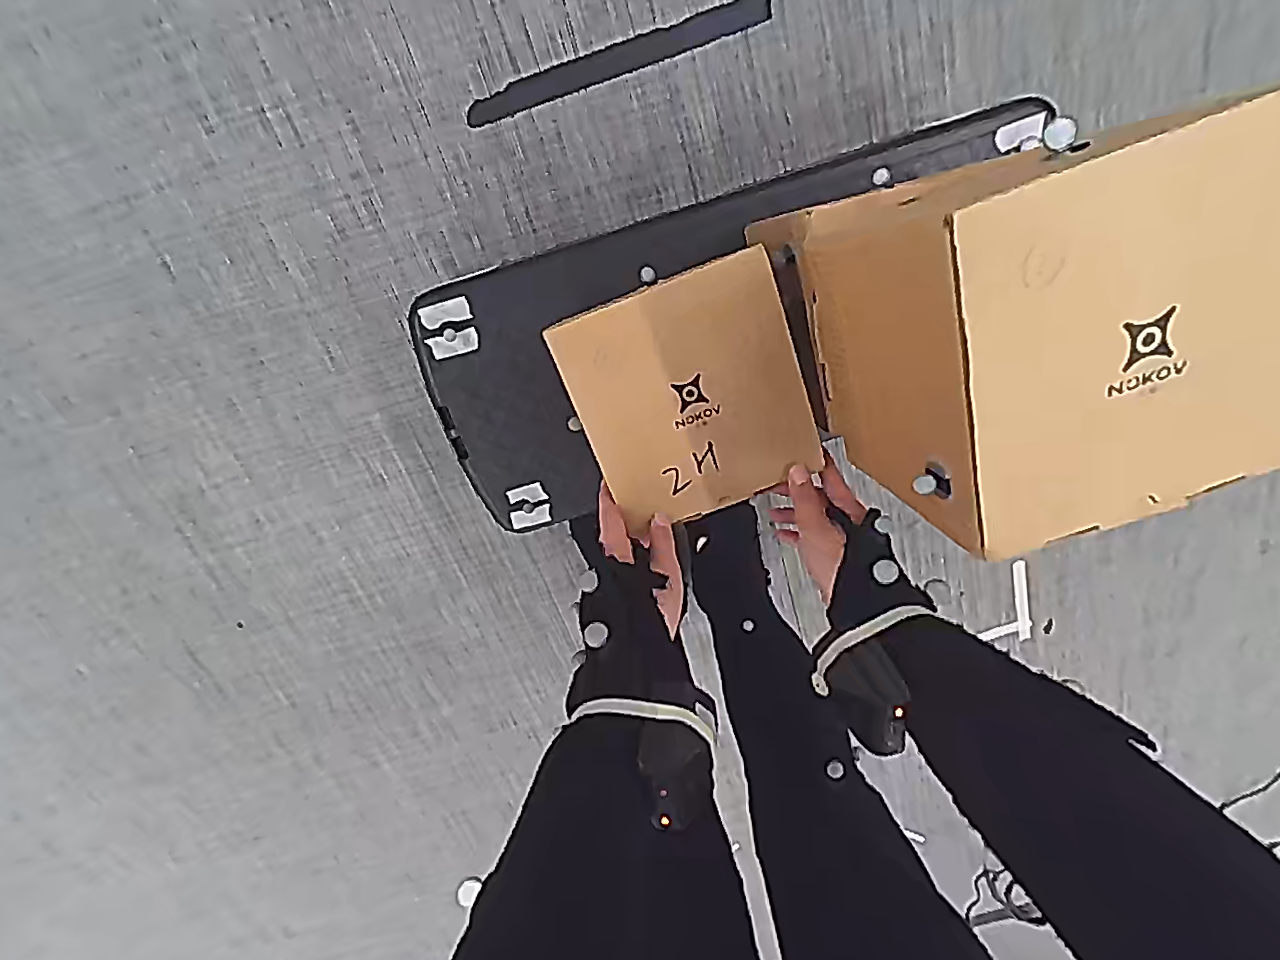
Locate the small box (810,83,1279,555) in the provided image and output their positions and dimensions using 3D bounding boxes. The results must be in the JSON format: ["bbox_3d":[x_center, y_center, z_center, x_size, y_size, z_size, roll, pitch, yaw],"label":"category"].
[{"bbox_3d":[0.220,-0.089,0.322,0.168,0.176,0.179,-19,113,3],"label":"small box"}]

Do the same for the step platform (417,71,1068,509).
[{"bbox_3d":[0.111,-0.200,0.632,0.684,0.204,0.286,-17,111,3],"label":"step platform"}]
